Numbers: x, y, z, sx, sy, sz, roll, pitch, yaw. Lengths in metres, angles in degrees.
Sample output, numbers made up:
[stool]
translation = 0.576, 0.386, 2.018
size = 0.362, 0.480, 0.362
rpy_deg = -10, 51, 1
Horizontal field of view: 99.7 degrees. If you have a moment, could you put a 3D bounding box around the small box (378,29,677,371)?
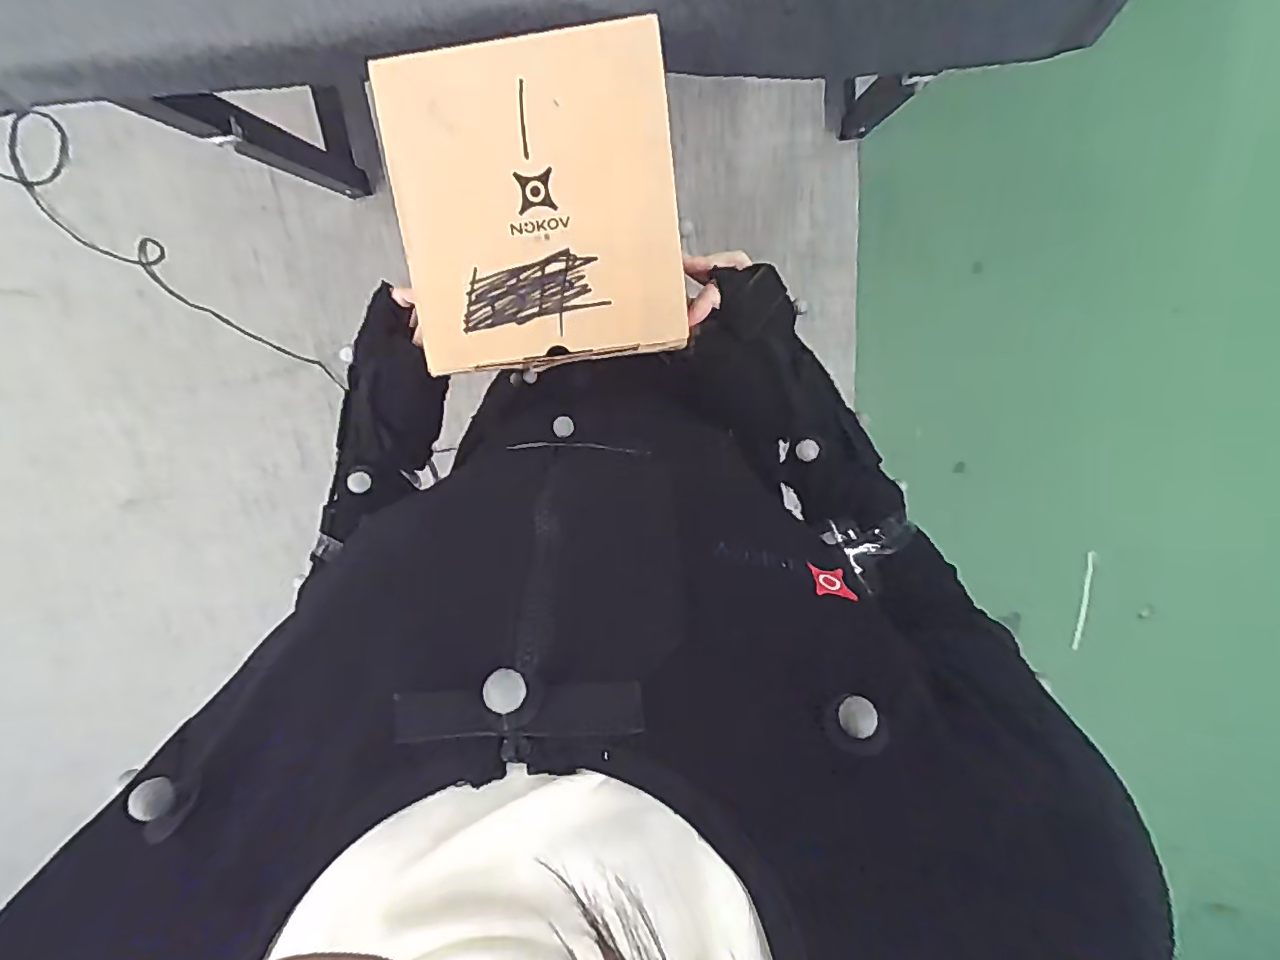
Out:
[small box]
translation = -0.060, -0.179, 0.402
size = 0.168, 0.176, 0.179
rpy_deg = -5, 102, 3
